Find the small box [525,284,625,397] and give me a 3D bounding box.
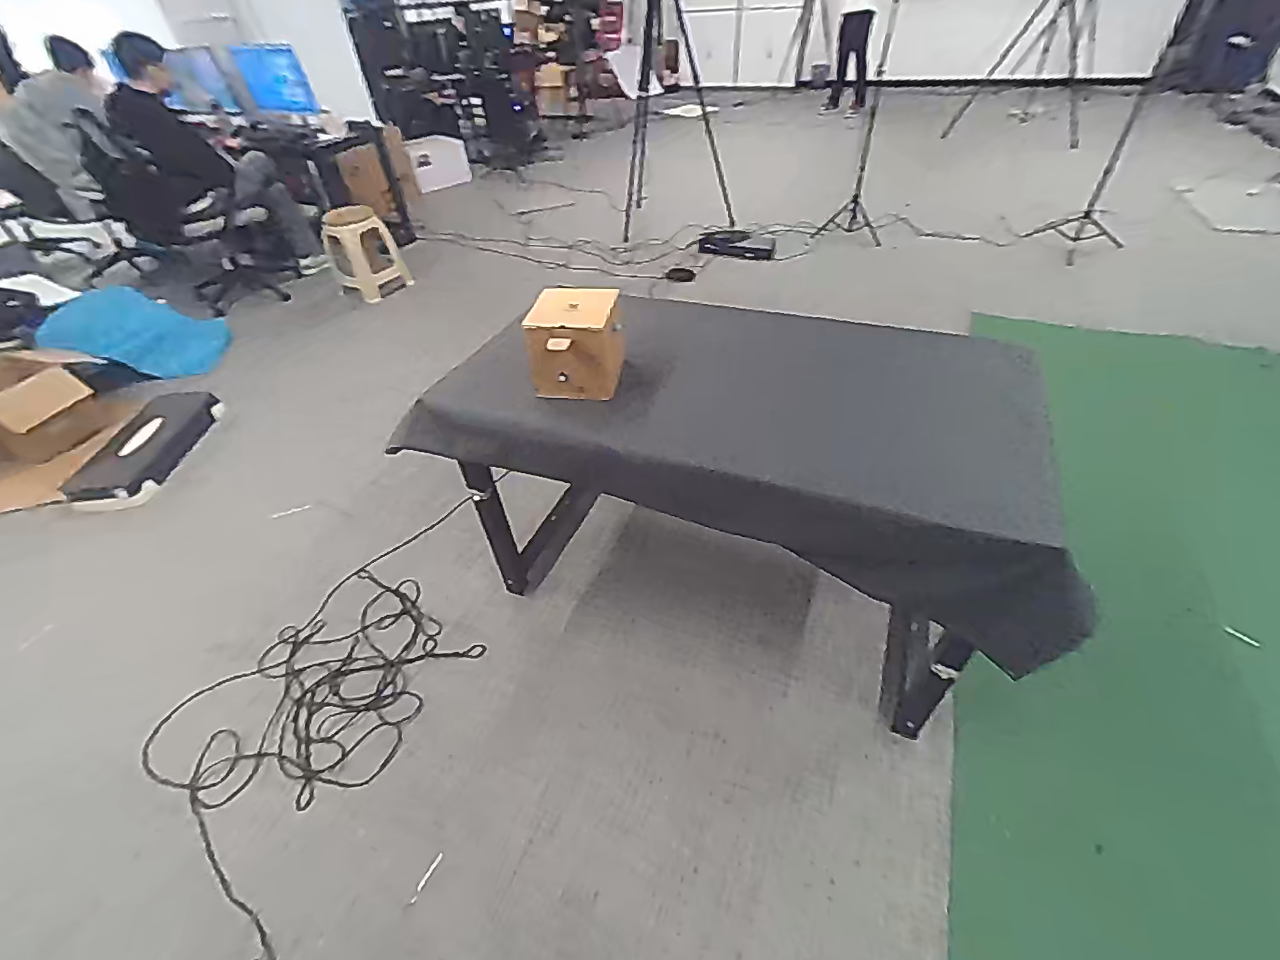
[{"bbox_3d":[-0.127,-0.297,1.147,0.168,0.176,0.179,4,44,8],"label":"small box"}]
